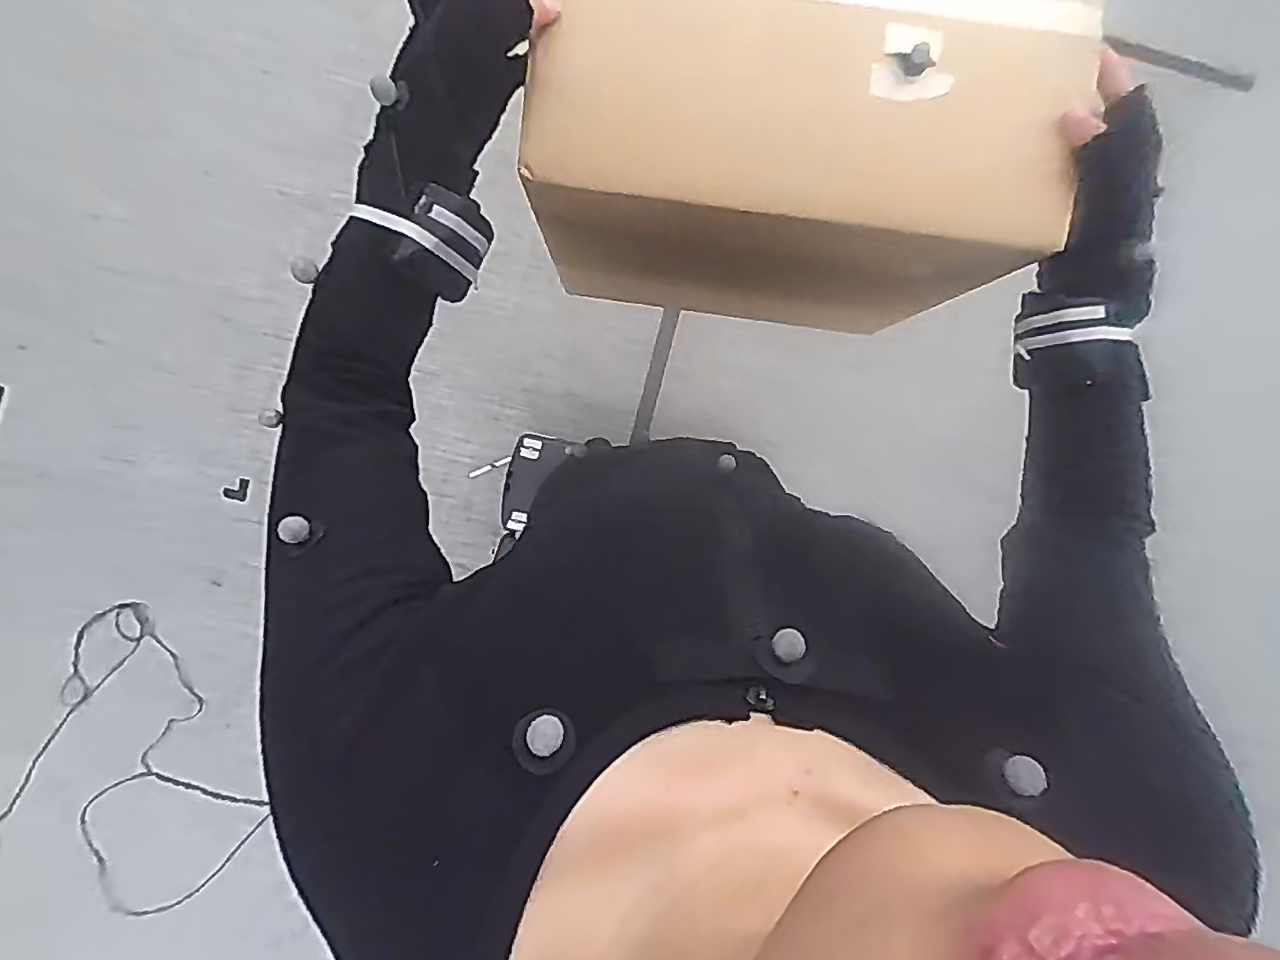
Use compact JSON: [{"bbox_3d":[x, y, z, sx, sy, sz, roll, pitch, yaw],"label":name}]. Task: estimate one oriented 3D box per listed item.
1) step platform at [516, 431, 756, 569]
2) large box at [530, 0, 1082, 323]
[{"bbox_3d":[-0.012,0.057,1.583,0.684,0.204,0.286,11,91,-4],"label":"step platform"},{"bbox_3d":[0.121,-0.365,0.545,0.408,0.320,0.320,7,94,-3],"label":"large box"}]
